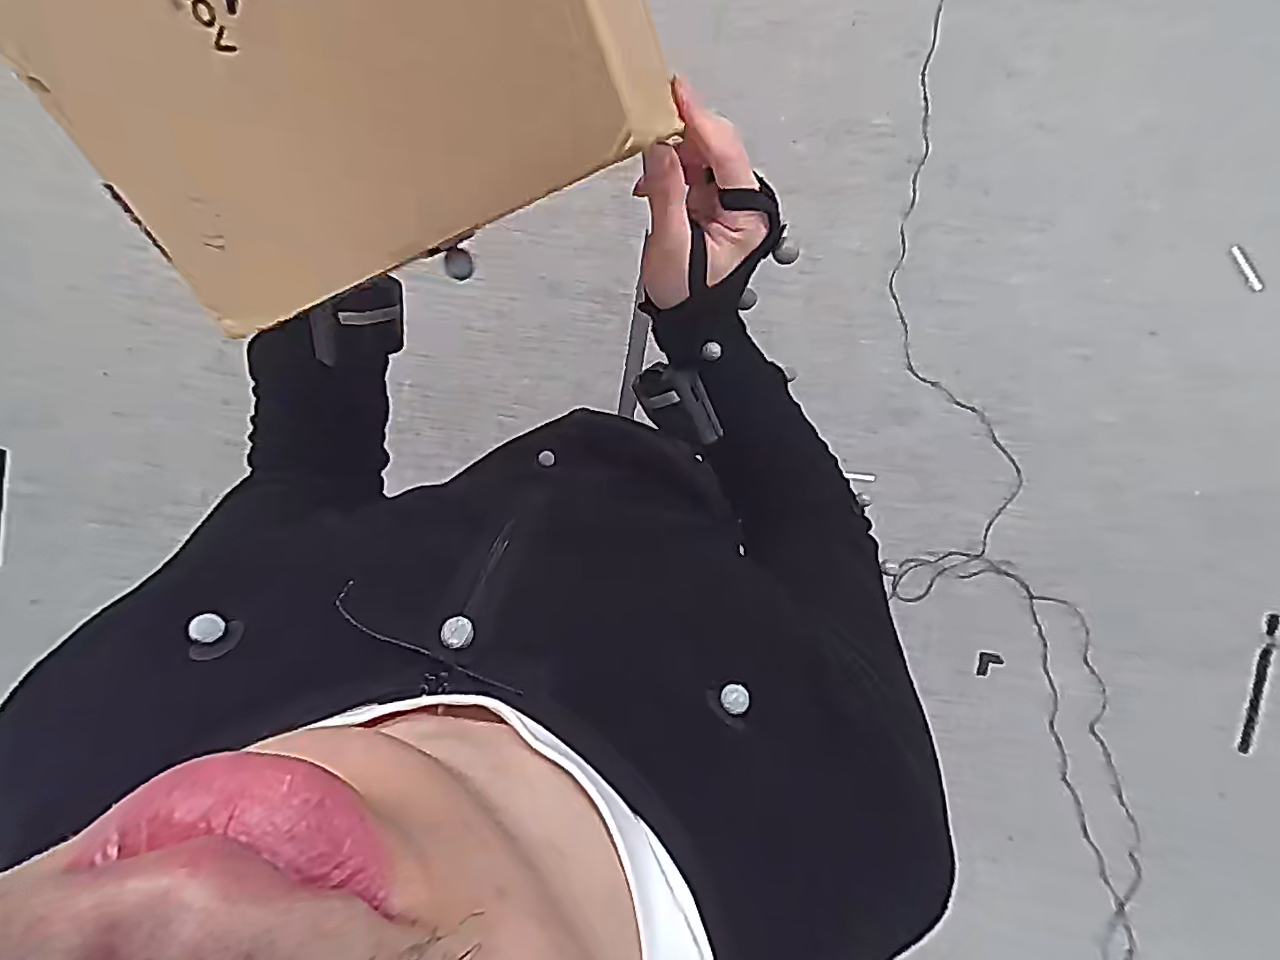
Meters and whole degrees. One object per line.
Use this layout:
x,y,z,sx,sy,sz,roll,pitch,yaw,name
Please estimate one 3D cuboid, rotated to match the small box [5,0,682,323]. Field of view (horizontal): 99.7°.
-0.095,-0.191,0.218,0.179,0.176,0.168,-17,119,19,small box
